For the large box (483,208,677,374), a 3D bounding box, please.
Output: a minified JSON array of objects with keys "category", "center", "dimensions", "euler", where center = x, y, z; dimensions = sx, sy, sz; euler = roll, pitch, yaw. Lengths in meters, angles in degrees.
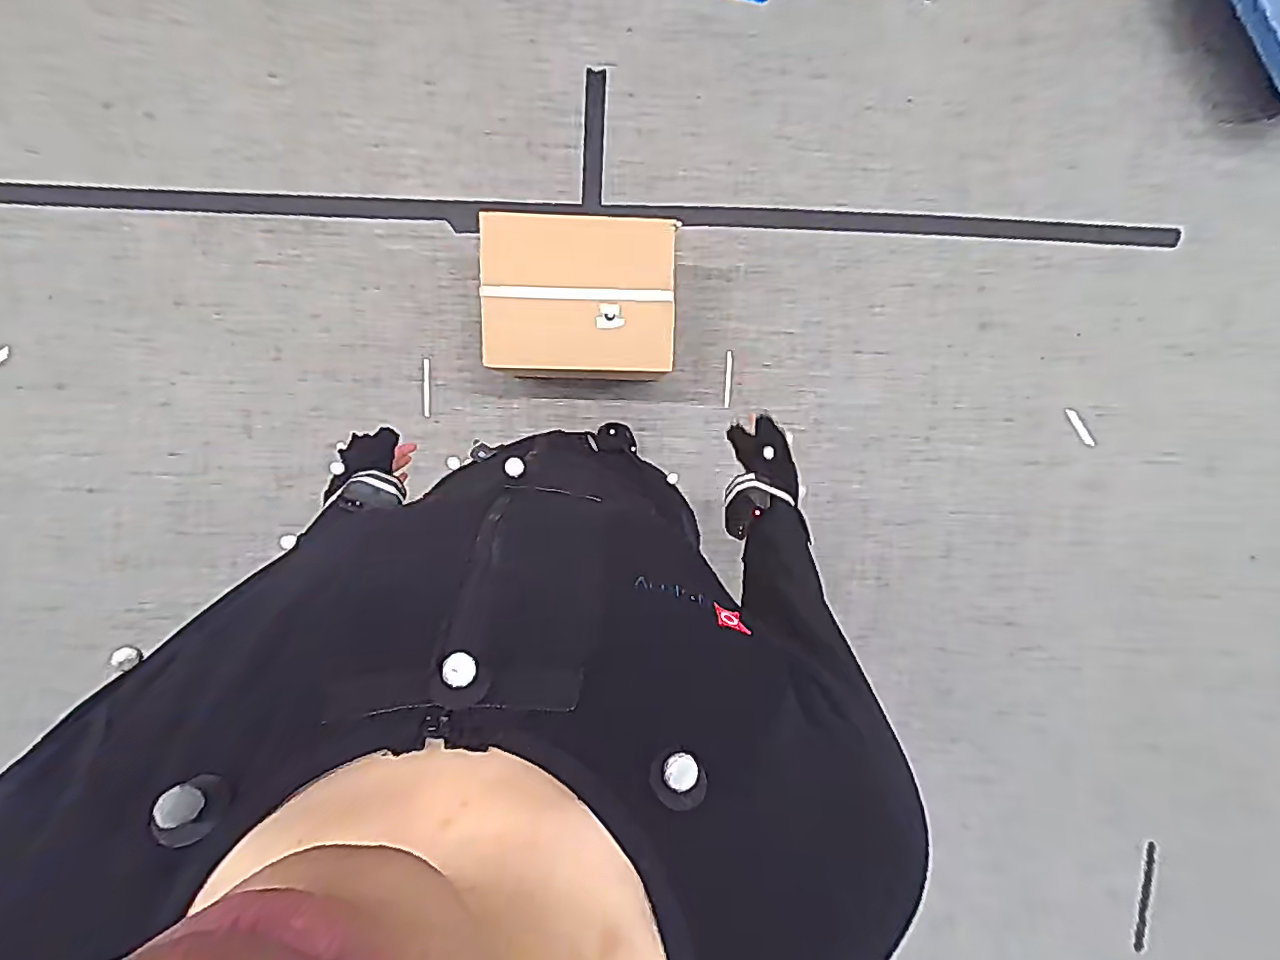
[{"category":"large box","center":[-0.134,-0.419,1.275],"dimensions":[0.408,0.320,0.320],"euler":[0,98,-4]}]
